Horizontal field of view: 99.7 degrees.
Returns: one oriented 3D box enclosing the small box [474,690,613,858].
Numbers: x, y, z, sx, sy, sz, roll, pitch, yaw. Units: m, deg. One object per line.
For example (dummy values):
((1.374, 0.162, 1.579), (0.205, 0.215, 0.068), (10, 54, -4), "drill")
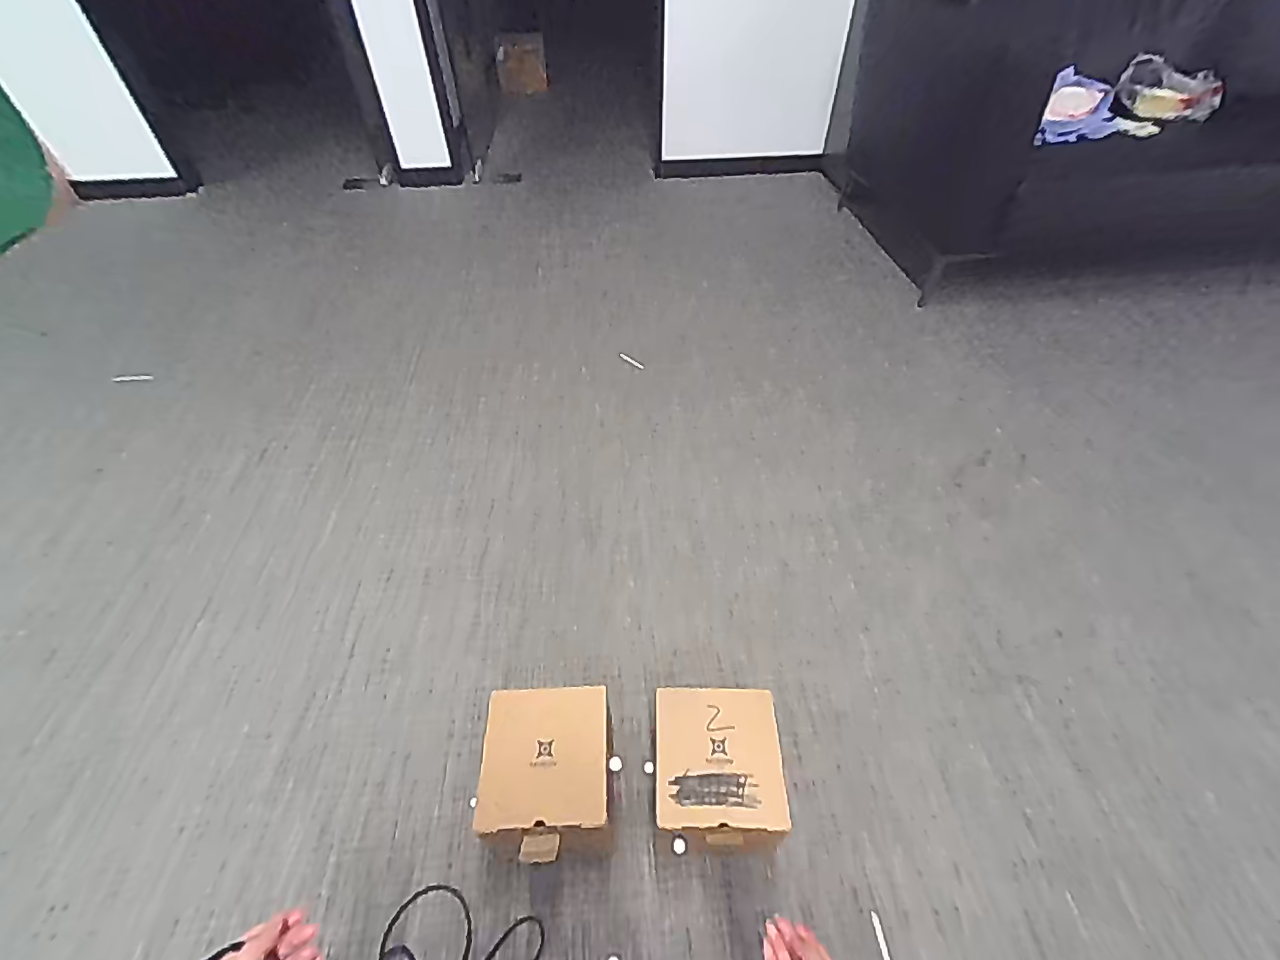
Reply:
((-0.126, 0.422, 0.777), (0.168, 0.176, 0.179), (-2, 48, -1), "small box")
